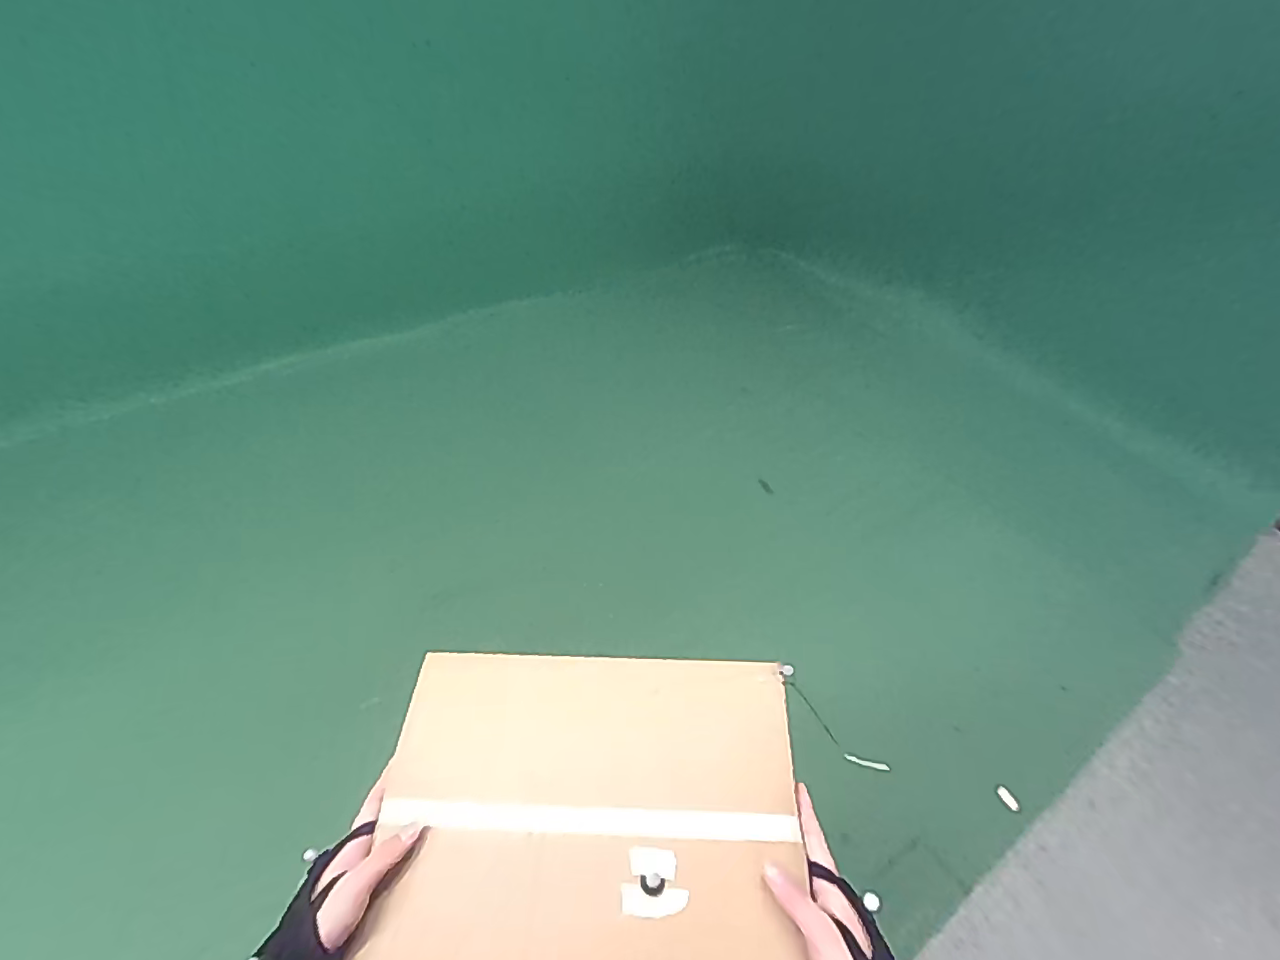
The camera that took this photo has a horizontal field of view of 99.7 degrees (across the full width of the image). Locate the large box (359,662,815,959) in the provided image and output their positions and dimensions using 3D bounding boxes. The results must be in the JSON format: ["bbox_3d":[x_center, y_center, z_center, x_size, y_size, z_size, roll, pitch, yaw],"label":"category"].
[{"bbox_3d":[-0.039,0.428,0.644,0.408,0.320,0.320,1,53,4],"label":"large box"}]
